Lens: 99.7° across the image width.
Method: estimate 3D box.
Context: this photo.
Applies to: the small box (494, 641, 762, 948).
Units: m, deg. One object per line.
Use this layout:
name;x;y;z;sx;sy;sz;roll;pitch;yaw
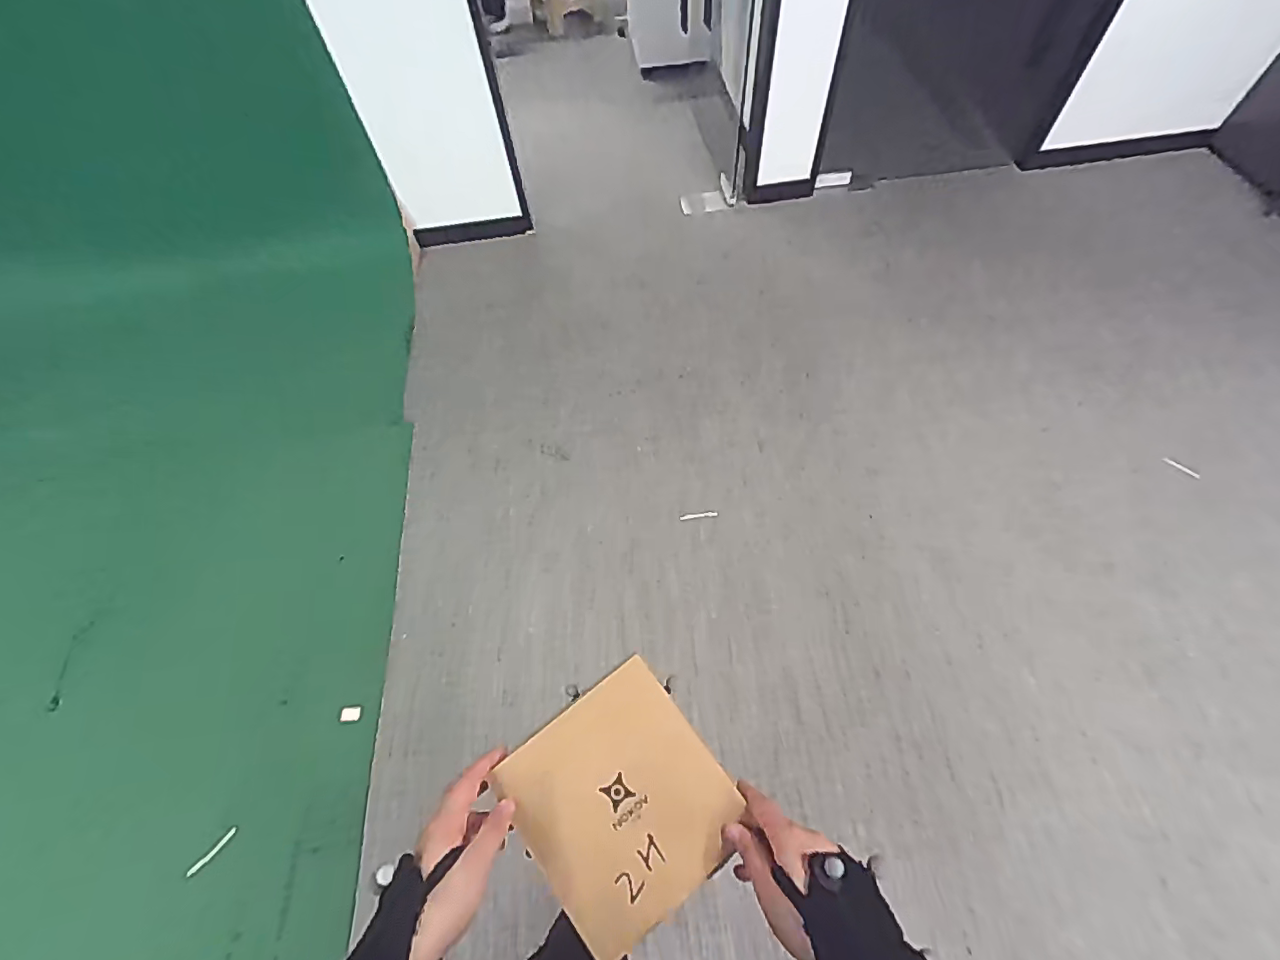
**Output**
small box;-0.013;0.281;0.533;0.168;0.176;0.179;-35;77;-10
